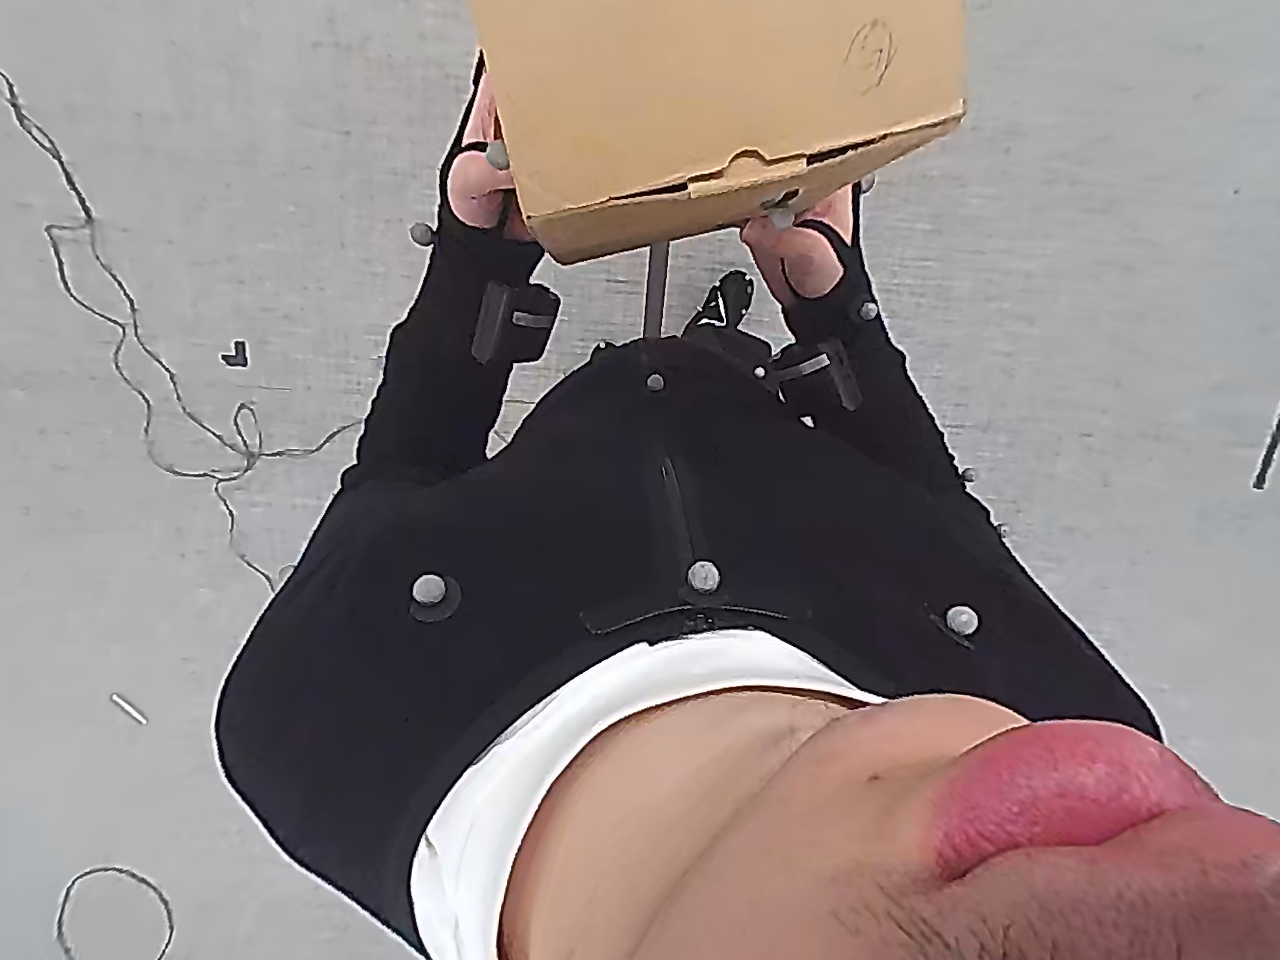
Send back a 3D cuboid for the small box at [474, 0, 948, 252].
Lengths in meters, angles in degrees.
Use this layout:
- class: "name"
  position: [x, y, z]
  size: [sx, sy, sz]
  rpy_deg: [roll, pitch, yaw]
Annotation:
- class: "small box"
  position: [0.014, -0.219, 0.257]
  size: [0.168, 0.176, 0.179]
  rpy_deg: [-14, 106, 0]
